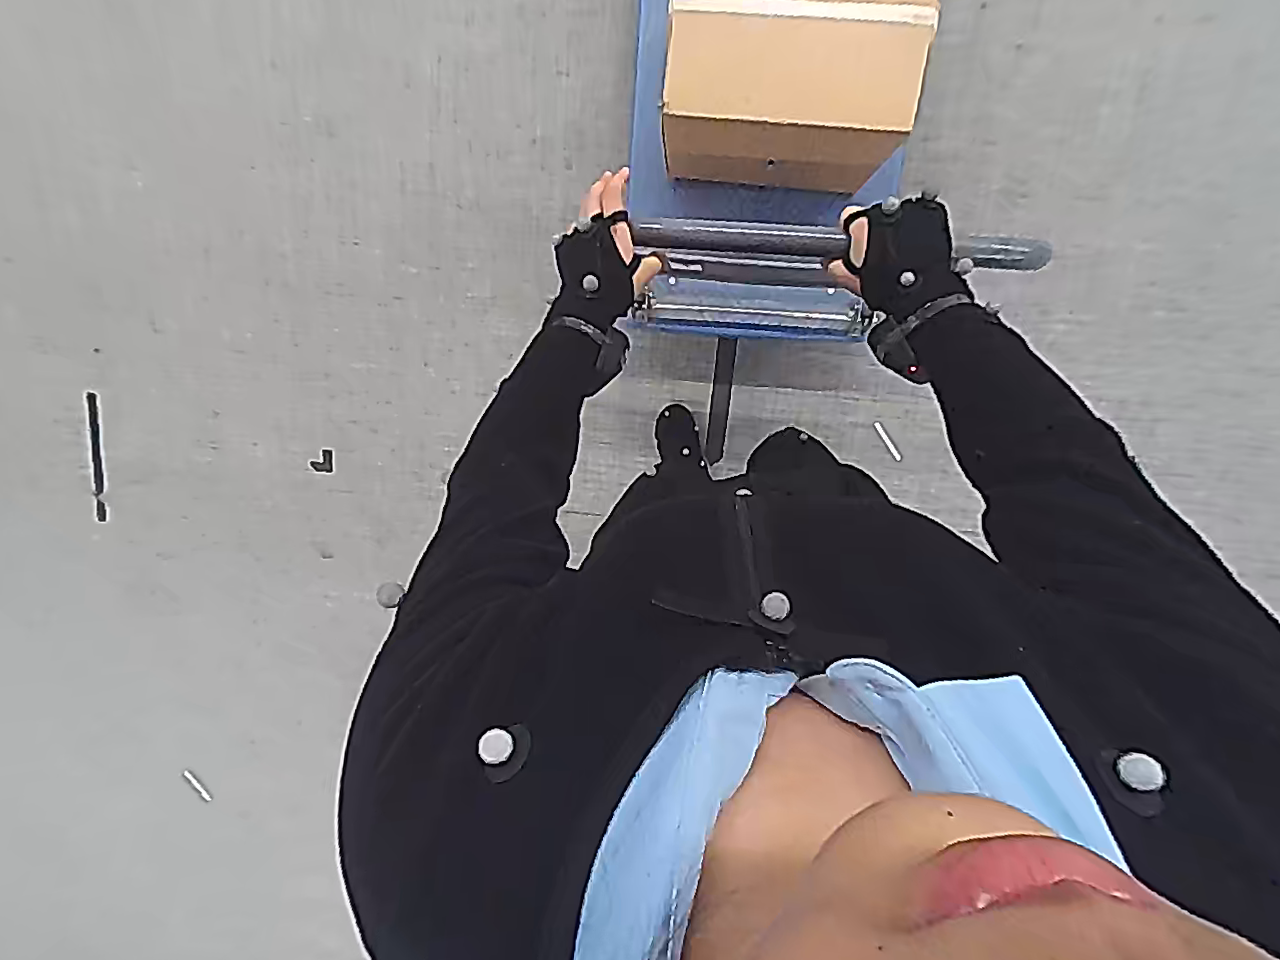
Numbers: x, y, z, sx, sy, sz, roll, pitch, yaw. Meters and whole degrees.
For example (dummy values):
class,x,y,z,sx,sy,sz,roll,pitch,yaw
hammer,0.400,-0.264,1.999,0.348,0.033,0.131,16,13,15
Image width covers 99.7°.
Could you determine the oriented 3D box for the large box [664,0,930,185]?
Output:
class,x,y,z,sx,sy,sz,roll,pitch,yaw
large box,0.267,-0.767,1.001,0.408,0.320,0.320,7,101,5
